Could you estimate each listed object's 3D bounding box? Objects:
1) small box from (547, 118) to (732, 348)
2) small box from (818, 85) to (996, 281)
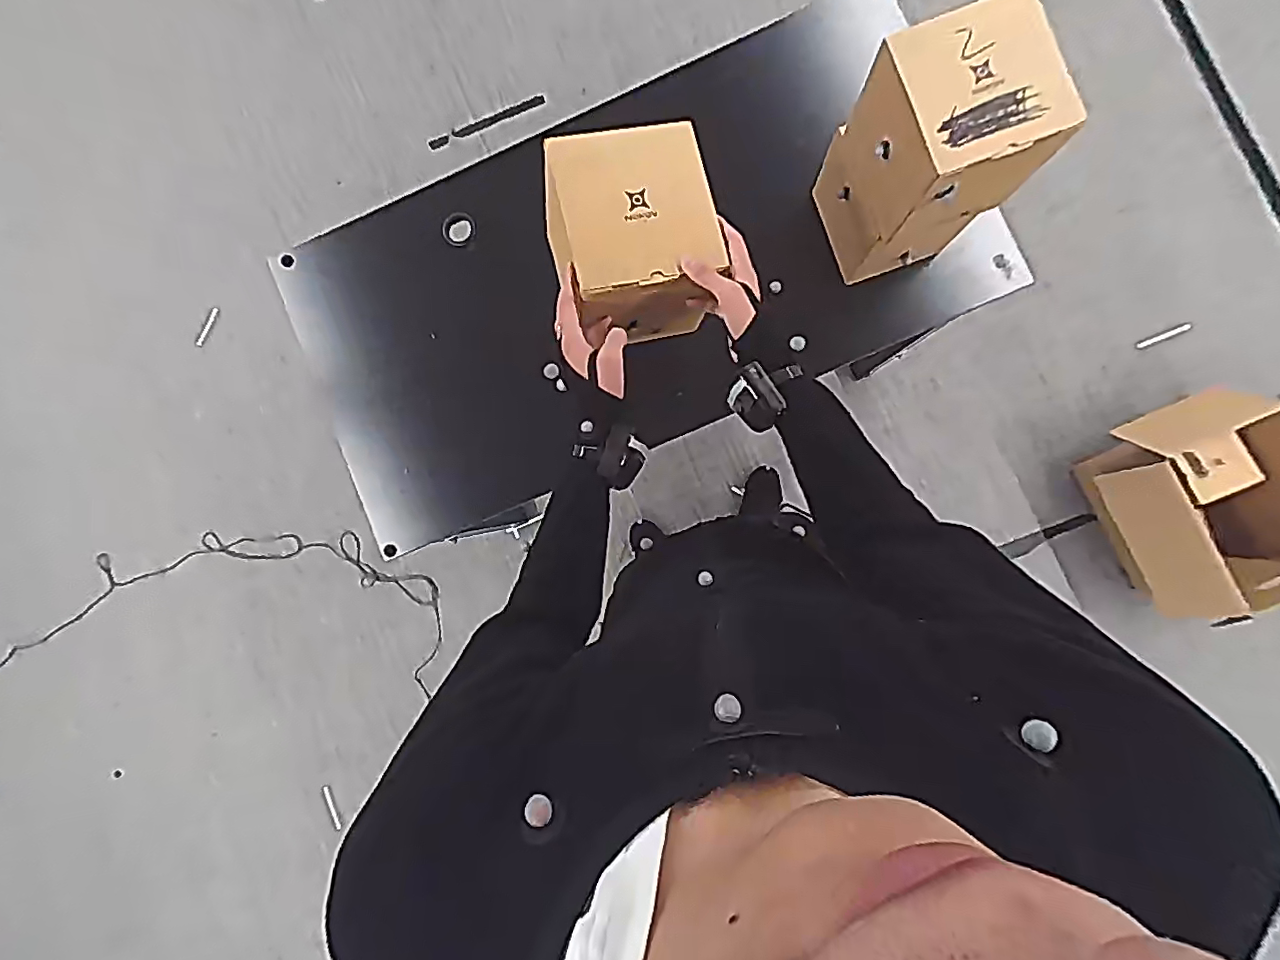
[{"bbox_3d":[-0.013,-0.280,0.640,0.168,0.176,0.179,-14,85,-10],"label":"small box"},{"bbox_3d":[0.390,-0.439,0.827,0.168,0.176,0.179,-18,87,5],"label":"small box"}]
